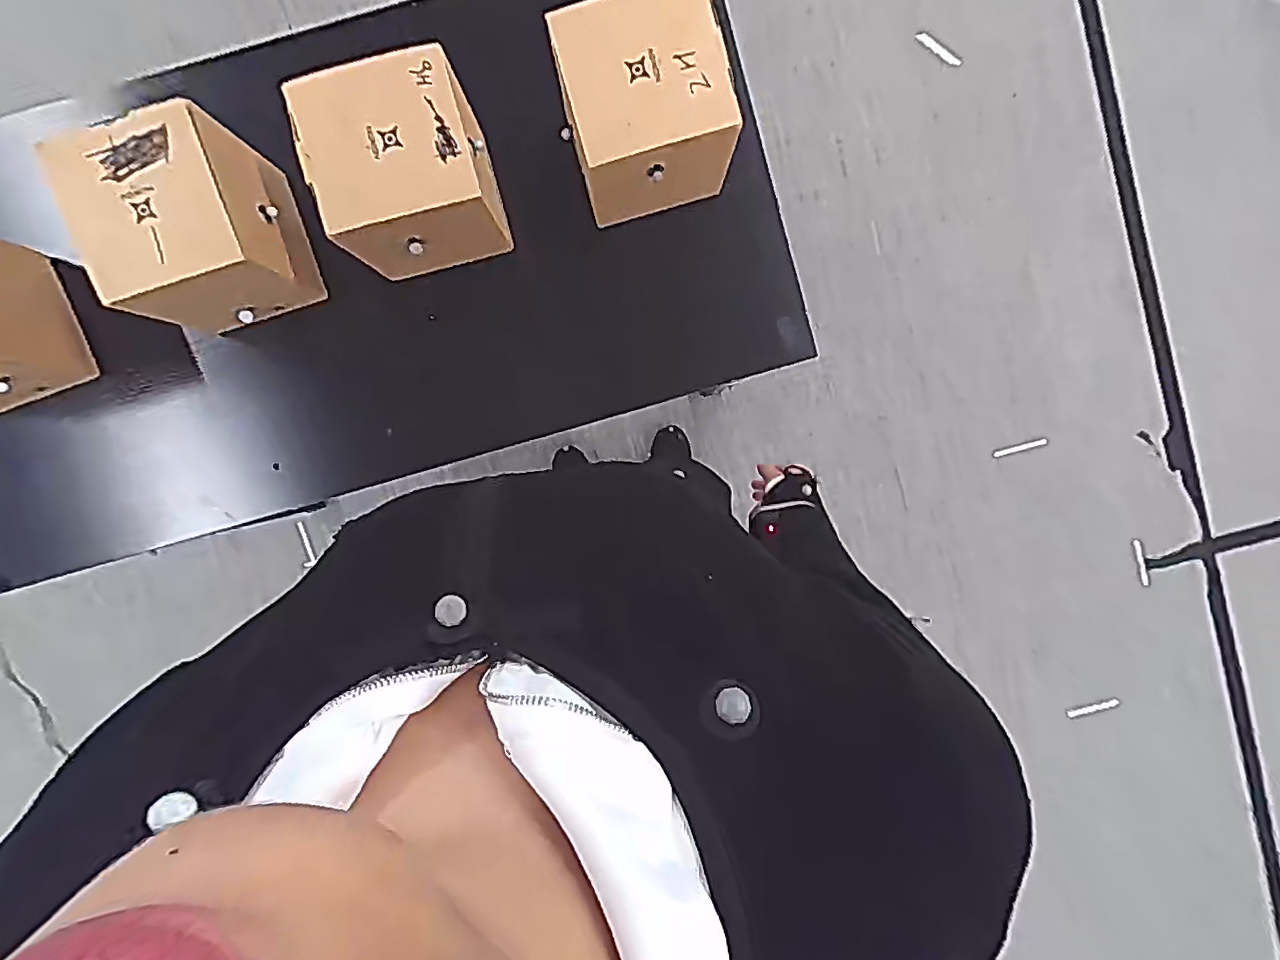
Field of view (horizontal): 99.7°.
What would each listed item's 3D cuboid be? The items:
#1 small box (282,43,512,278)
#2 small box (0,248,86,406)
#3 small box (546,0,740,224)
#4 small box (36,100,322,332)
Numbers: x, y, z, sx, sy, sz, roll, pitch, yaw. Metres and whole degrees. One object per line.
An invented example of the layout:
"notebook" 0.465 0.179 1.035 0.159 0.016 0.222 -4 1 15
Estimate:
"small box" -0.273 -0.362 0.648 0.179 0.176 0.168 -14 94 0
"small box" -0.839 -0.187 0.645 0.168 0.176 0.179 -20 94 -1
"small box" 0.004 -0.435 0.648 0.179 0.176 0.168 -16 95 0
"small box" -0.525 -0.296 0.645 0.168 0.176 0.179 -17 95 0
